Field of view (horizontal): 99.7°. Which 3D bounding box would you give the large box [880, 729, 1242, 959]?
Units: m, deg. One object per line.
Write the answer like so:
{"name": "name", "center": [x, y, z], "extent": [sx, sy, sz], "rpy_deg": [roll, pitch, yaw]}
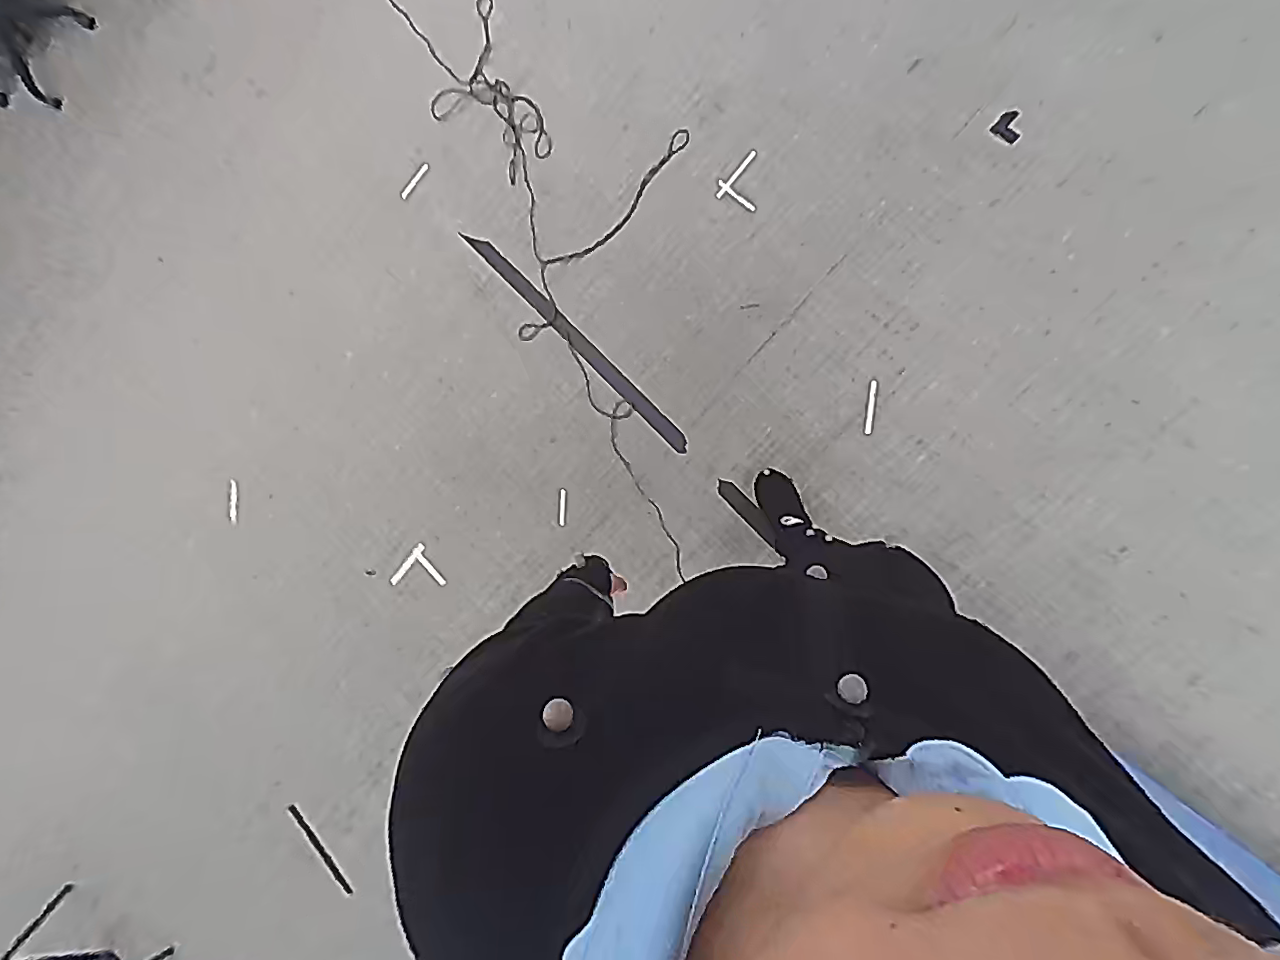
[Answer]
{"name": "large box", "center": [0.714, 0.771, 1.006], "extent": [0.320, 0.320, 0.408], "rpy_deg": [35, 99, 16]}
